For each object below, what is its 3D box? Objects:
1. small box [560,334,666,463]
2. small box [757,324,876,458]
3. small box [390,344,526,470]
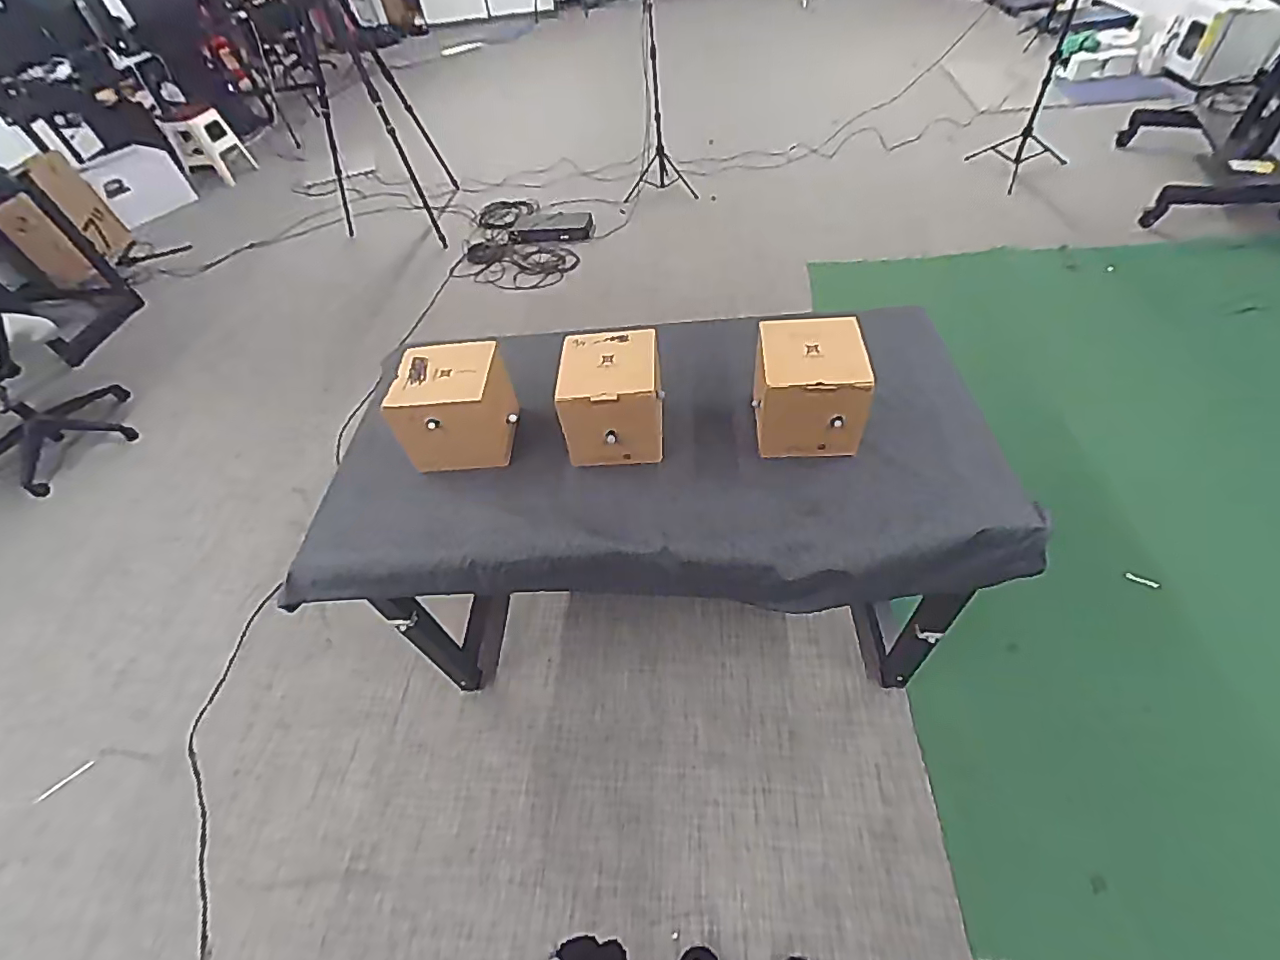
[{"bbox_3d":[-0.039,-0.142,0.989,0.168,0.176,0.179,-2,50,6],"label":"small box"},{"bbox_3d":[0.298,-0.151,0.952,0.168,0.176,0.179,0,49,6],"label":"small box"},{"bbox_3d":[-0.330,-0.133,1.020,0.179,0.176,0.168,-3,50,4],"label":"small box"}]
